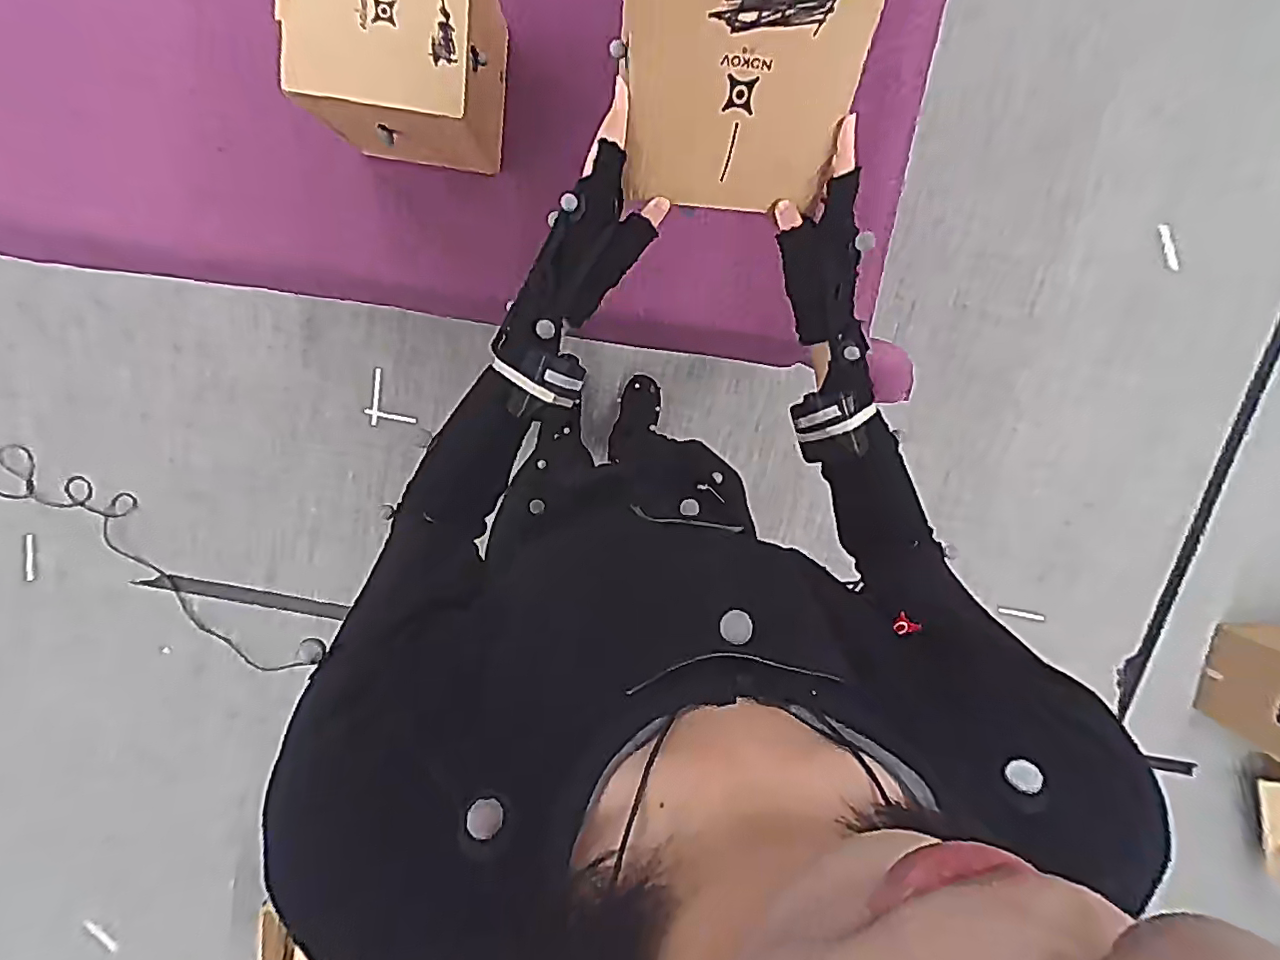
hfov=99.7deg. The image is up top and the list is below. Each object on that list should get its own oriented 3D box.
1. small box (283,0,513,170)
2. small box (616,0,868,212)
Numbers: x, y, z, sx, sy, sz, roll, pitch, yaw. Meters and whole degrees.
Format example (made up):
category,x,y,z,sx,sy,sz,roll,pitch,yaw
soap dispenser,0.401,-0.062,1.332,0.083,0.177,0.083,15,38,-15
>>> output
category,x,y,z,sx,sy,sz,roll,pitch,yaw
small box,-0.248,-0.460,0.585,0.179,0.176,0.168,7,101,-3
small box,0.069,-0.343,0.468,0.168,0.176,0.179,3,121,-7
